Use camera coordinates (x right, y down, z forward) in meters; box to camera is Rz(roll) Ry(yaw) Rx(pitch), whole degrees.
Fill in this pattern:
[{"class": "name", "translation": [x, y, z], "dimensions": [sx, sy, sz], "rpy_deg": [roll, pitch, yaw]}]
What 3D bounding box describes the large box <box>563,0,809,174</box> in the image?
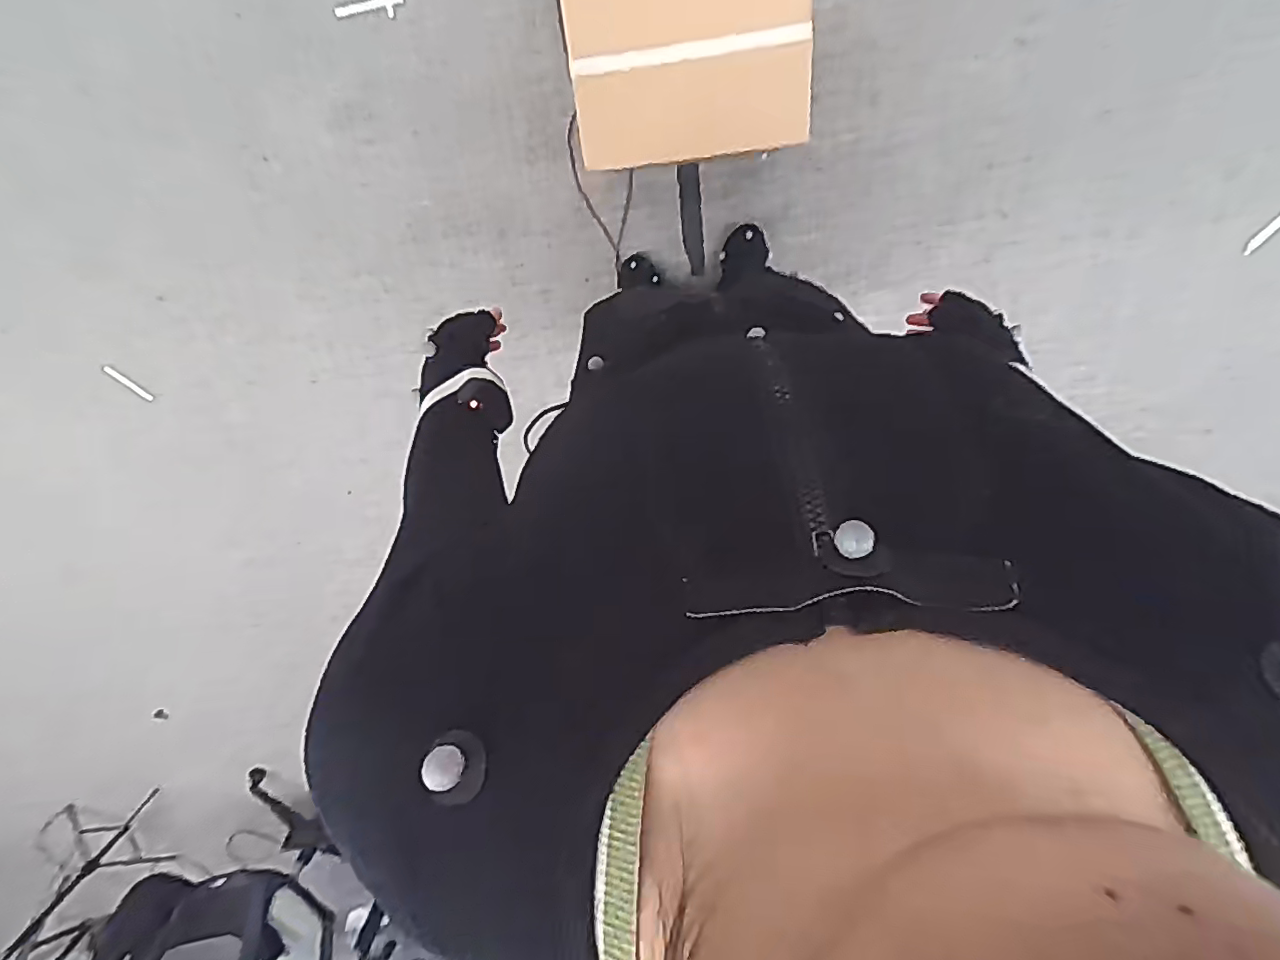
[{"class": "large box", "translation": [0.092, -0.792, 1.040], "dimensions": [0.408, 0.320, 0.320], "rpy_deg": [-5, 118, 6]}]
